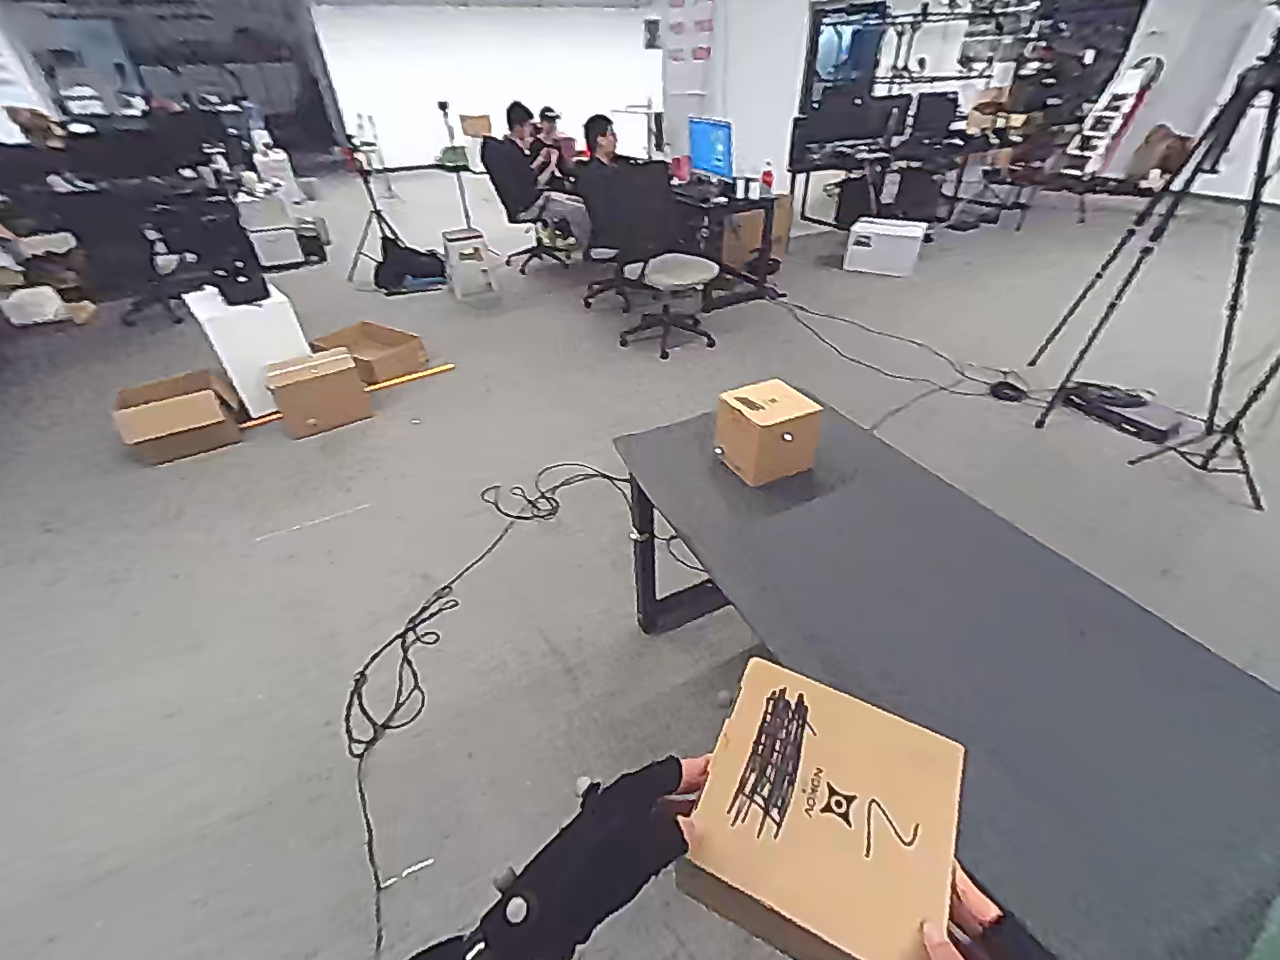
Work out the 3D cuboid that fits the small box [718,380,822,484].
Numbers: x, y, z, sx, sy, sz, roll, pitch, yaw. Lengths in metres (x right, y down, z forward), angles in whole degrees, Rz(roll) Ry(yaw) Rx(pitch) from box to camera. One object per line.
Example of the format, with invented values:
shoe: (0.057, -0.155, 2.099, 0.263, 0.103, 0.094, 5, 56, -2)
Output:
small box: (0.298, -0.113, 1.279, 0.179, 0.176, 0.168, -17, 40, -20)
